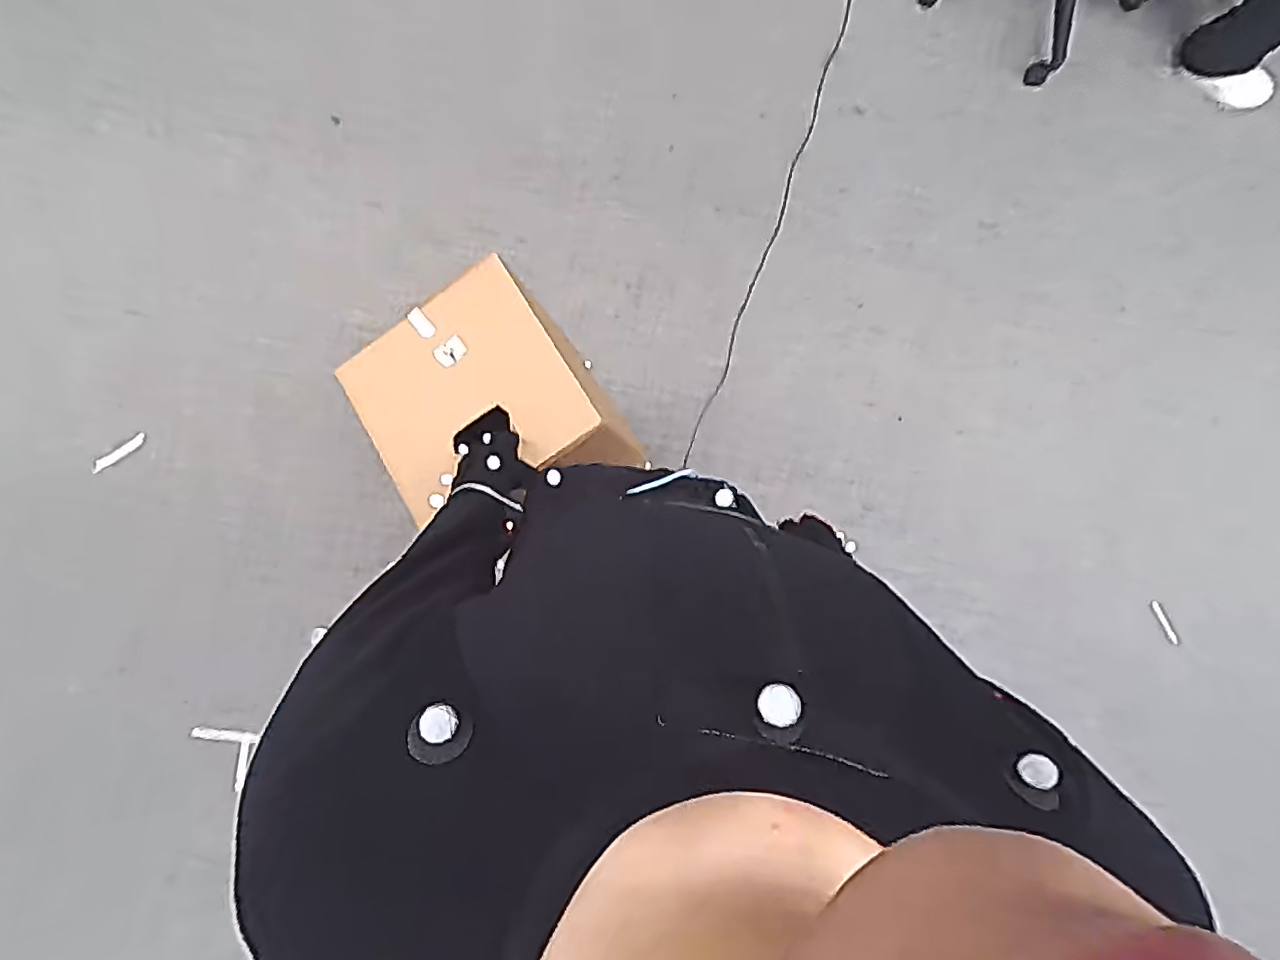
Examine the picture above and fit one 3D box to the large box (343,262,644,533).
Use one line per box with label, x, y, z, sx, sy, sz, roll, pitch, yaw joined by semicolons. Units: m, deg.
large box;-0.233;-0.116;0.993;0.320;0.408;0.320;-32;81;6
